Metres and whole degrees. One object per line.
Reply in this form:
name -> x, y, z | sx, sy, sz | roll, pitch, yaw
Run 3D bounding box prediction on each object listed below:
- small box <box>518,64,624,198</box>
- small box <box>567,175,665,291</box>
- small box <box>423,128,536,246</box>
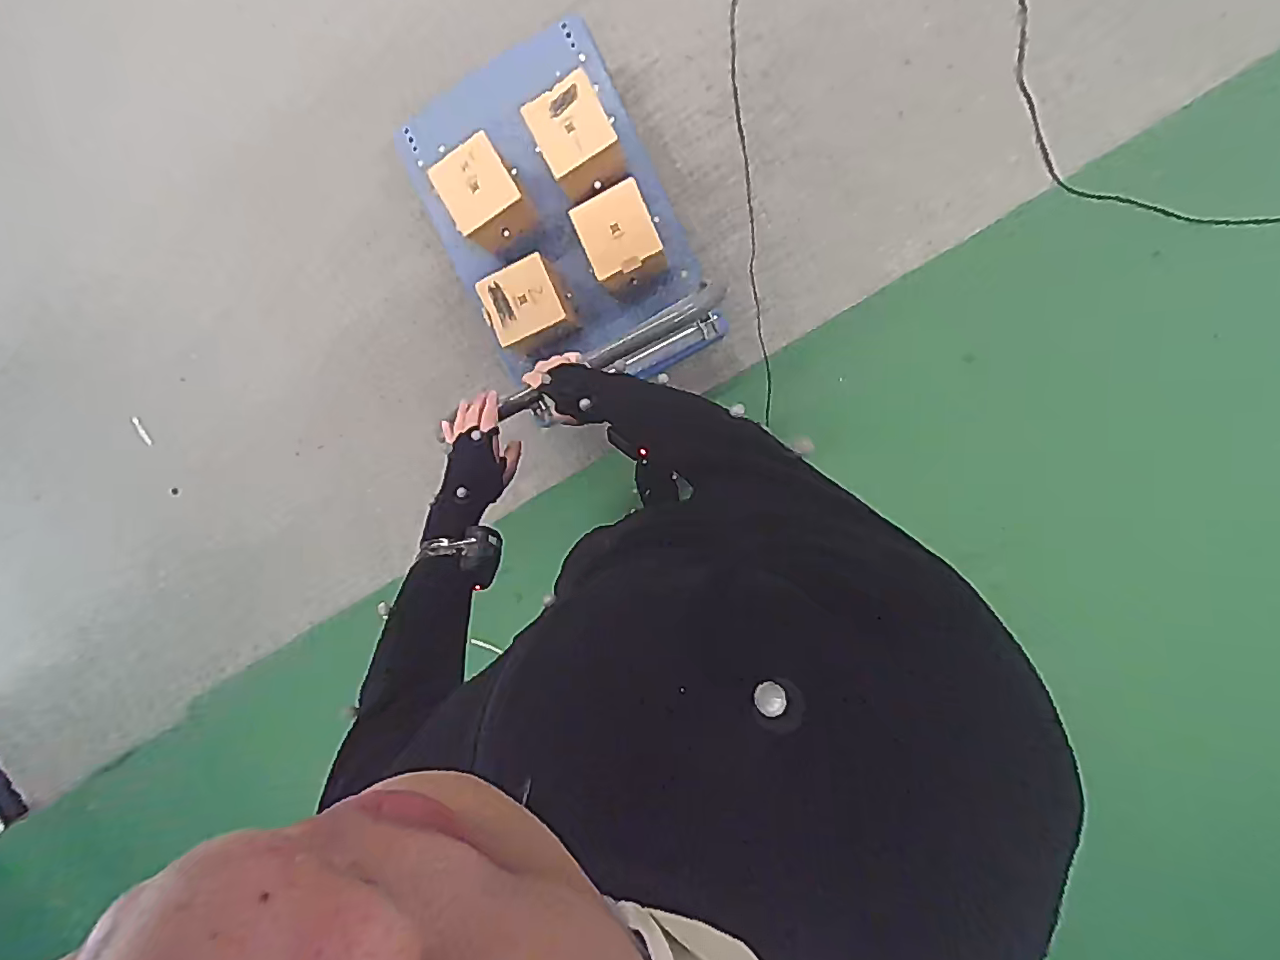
small box -> -0.154, -0.804, 1.268 | 0.168, 0.176, 0.179 | -27, 95, 11
small box -> -0.050, -0.578, 1.291 | 0.168, 0.176, 0.179 | -24, 96, 10
small box -> -0.379, -0.695, 1.313 | 0.168, 0.176, 0.179 | -29, 94, 10
